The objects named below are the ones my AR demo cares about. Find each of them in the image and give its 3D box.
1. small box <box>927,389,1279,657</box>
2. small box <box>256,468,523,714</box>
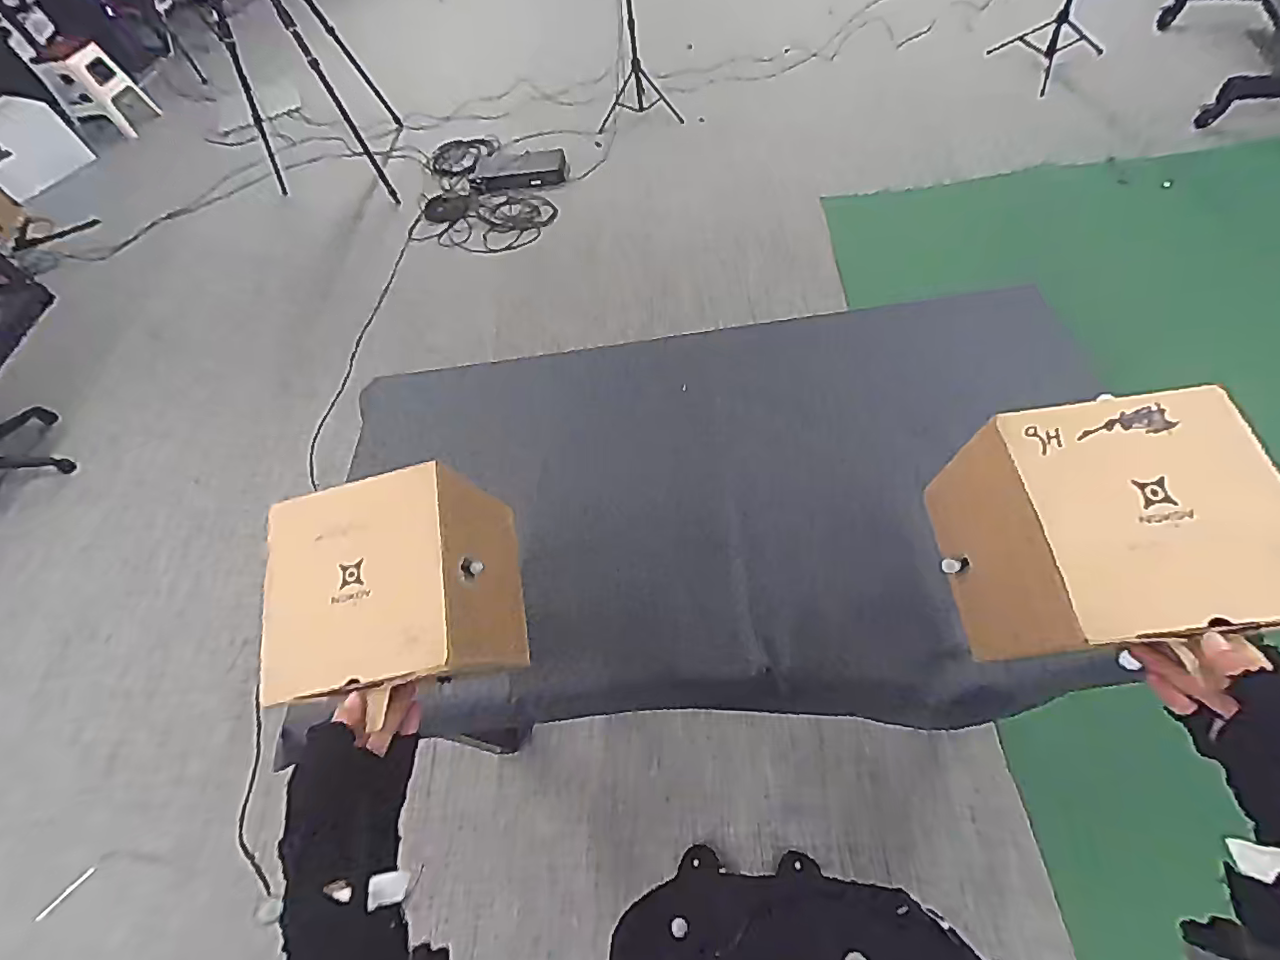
[{"bbox_3d":[0.371,0.050,0.452,0.168,0.176,0.179,-7,67,5],"label":"small box"},{"bbox_3d":[-0.223,0.111,0.518,0.168,0.176,0.179,-14,69,5],"label":"small box"}]
